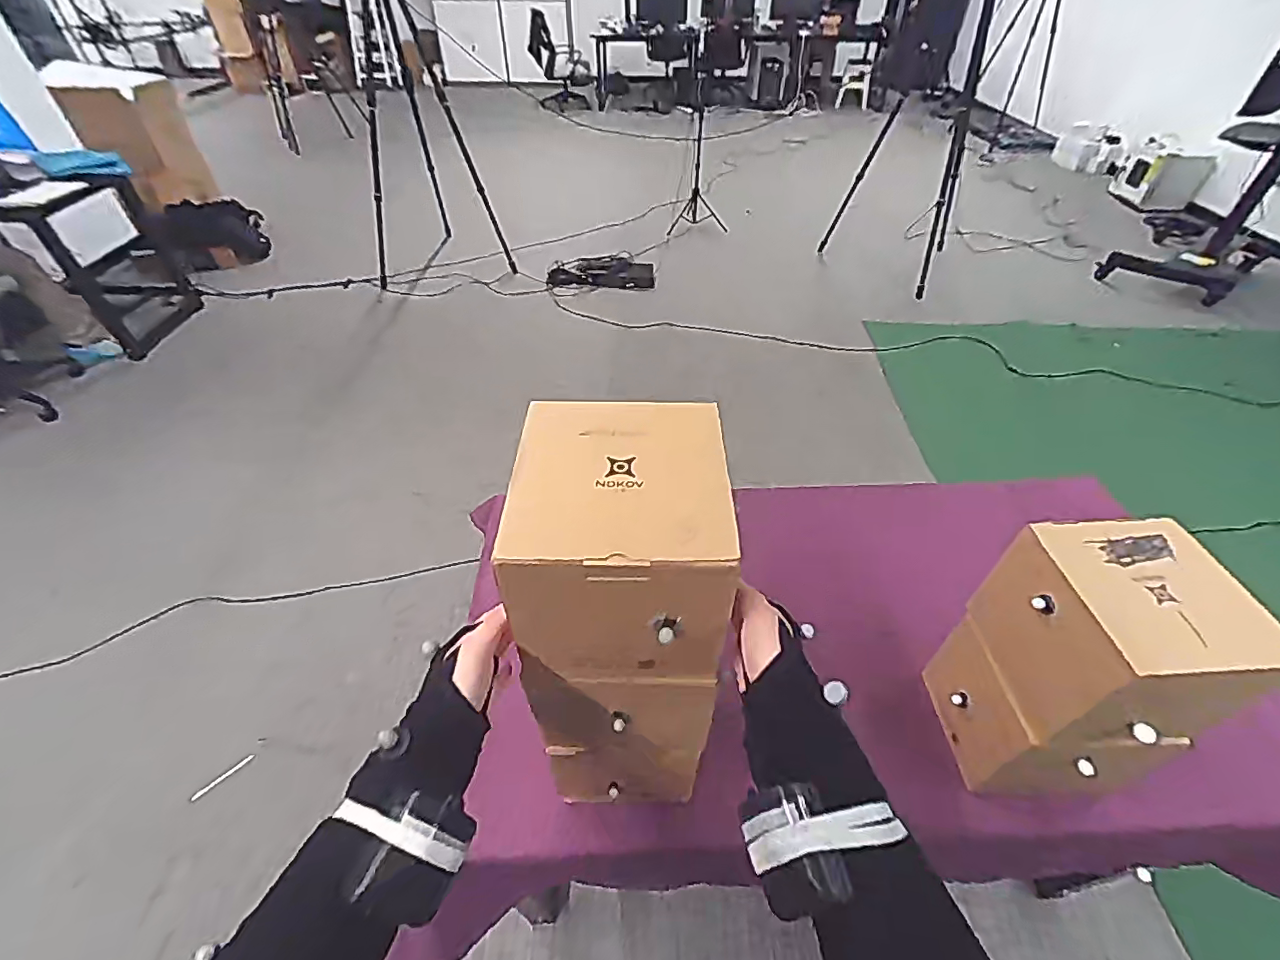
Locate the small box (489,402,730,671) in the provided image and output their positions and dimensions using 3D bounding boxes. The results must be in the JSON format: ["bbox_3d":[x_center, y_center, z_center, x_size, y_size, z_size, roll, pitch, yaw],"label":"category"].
[{"bbox_3d":[-0.018,0.050,0.471,0.168,0.176,0.179,1,44,0],"label":"small box"}]

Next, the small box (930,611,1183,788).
[{"bbox_3d":[0.502,0.282,0.695,0.179,0.176,0.168,0,45,0],"label":"small box"}]

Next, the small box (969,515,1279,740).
[{"bbox_3d":[0.500,0.158,0.585,0.168,0.176,0.179,-3,45,-2],"label":"small box"}]

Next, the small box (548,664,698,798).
[{"bbox_3d":[-0.020,0.288,0.697,0.168,0.176,0.179,-1,45,0],"label":"small box"}]
